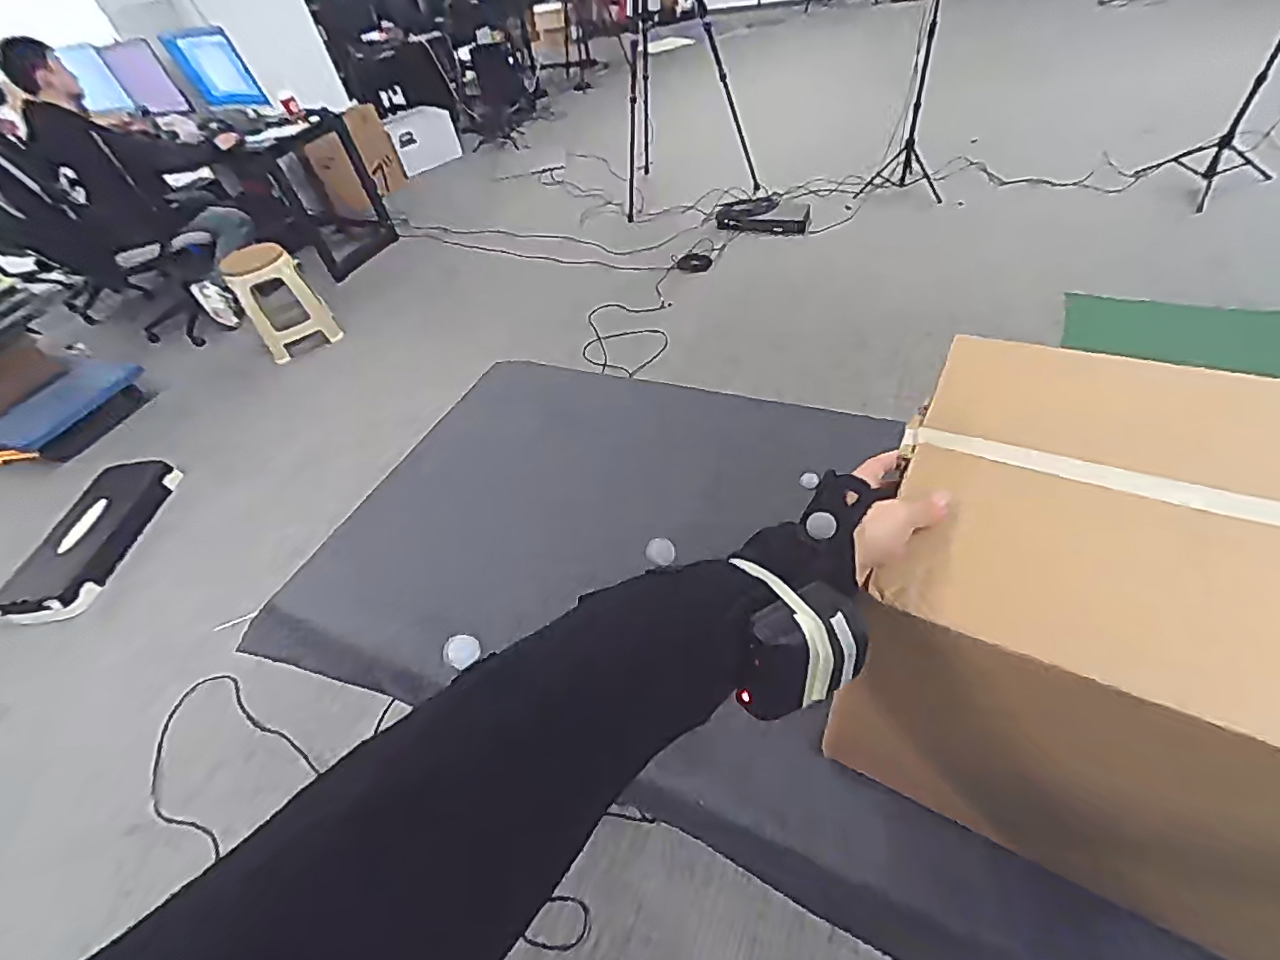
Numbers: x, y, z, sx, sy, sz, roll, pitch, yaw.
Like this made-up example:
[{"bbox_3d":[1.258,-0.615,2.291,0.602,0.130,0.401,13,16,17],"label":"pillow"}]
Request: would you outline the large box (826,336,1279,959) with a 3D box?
[{"bbox_3d":[0.410,0.122,0.447,0.408,0.320,0.320,19,54,25],"label":"large box"}]
